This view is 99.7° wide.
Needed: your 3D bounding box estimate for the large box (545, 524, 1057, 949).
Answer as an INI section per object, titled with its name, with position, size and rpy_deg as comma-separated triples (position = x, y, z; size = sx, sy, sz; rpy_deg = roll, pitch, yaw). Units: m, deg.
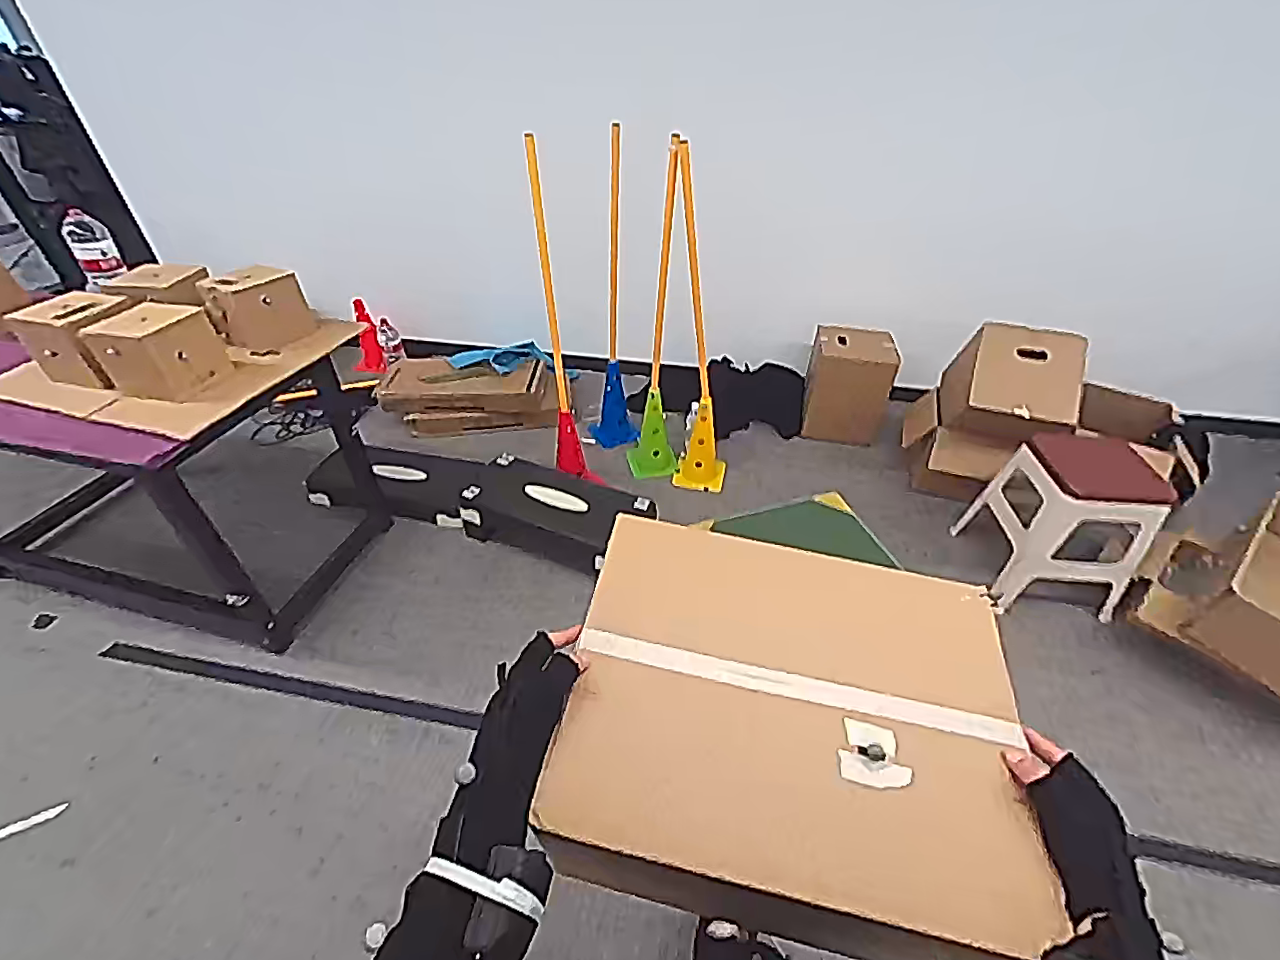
[large box]
position = 0.134, 0.293, 0.622
size = 0.408, 0.320, 0.320
rpy_deg = 11, 50, 5
